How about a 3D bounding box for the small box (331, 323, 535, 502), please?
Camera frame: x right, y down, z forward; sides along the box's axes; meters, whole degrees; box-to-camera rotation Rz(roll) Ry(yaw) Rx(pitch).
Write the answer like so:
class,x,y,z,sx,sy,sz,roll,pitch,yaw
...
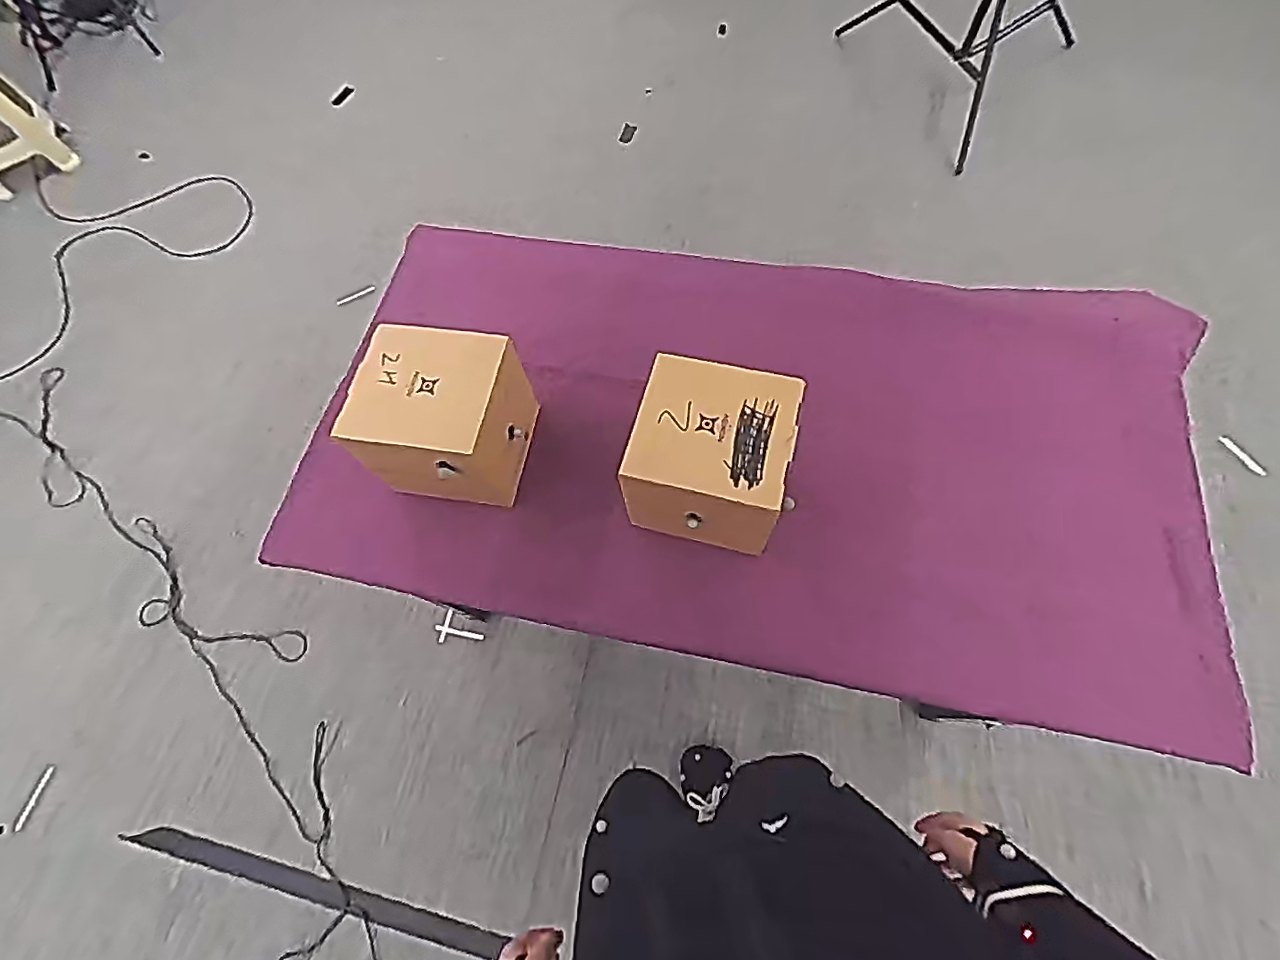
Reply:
class,x,y,z,sx,sy,sz,roll,pitch,yaw
small box,-0.252,-0.080,0.712,0.179,0.176,0.168,7,66,7
